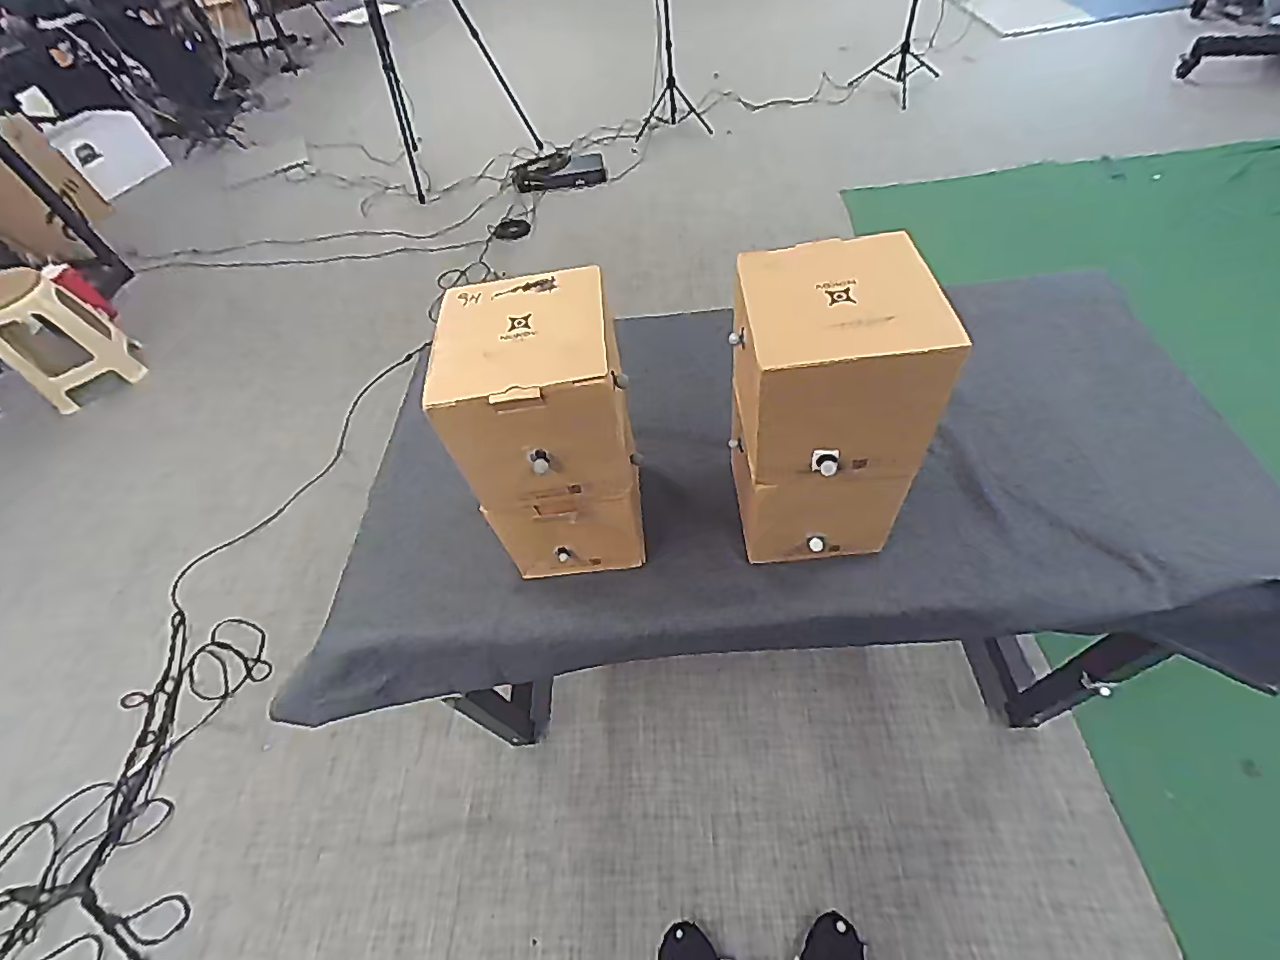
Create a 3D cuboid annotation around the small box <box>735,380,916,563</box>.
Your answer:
[{"bbox_3d":[0.211,-0.017,0.674,0.168,0.176,0.179,-6,52,5],"label":"small box"}]

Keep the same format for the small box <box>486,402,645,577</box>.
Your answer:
[{"bbox_3d":[-0.086,0.005,0.708,0.168,0.176,0.179,-7,52,3],"label":"small box"}]

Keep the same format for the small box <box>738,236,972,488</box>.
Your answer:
[{"bbox_3d":[0.191,-0.114,0.545,0.168,0.176,0.179,-6,52,6],"label":"small box"}]

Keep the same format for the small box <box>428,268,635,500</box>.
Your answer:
[{"bbox_3d":[-0.101,-0.092,0.576,0.168,0.176,0.179,-8,53,3],"label":"small box"}]
